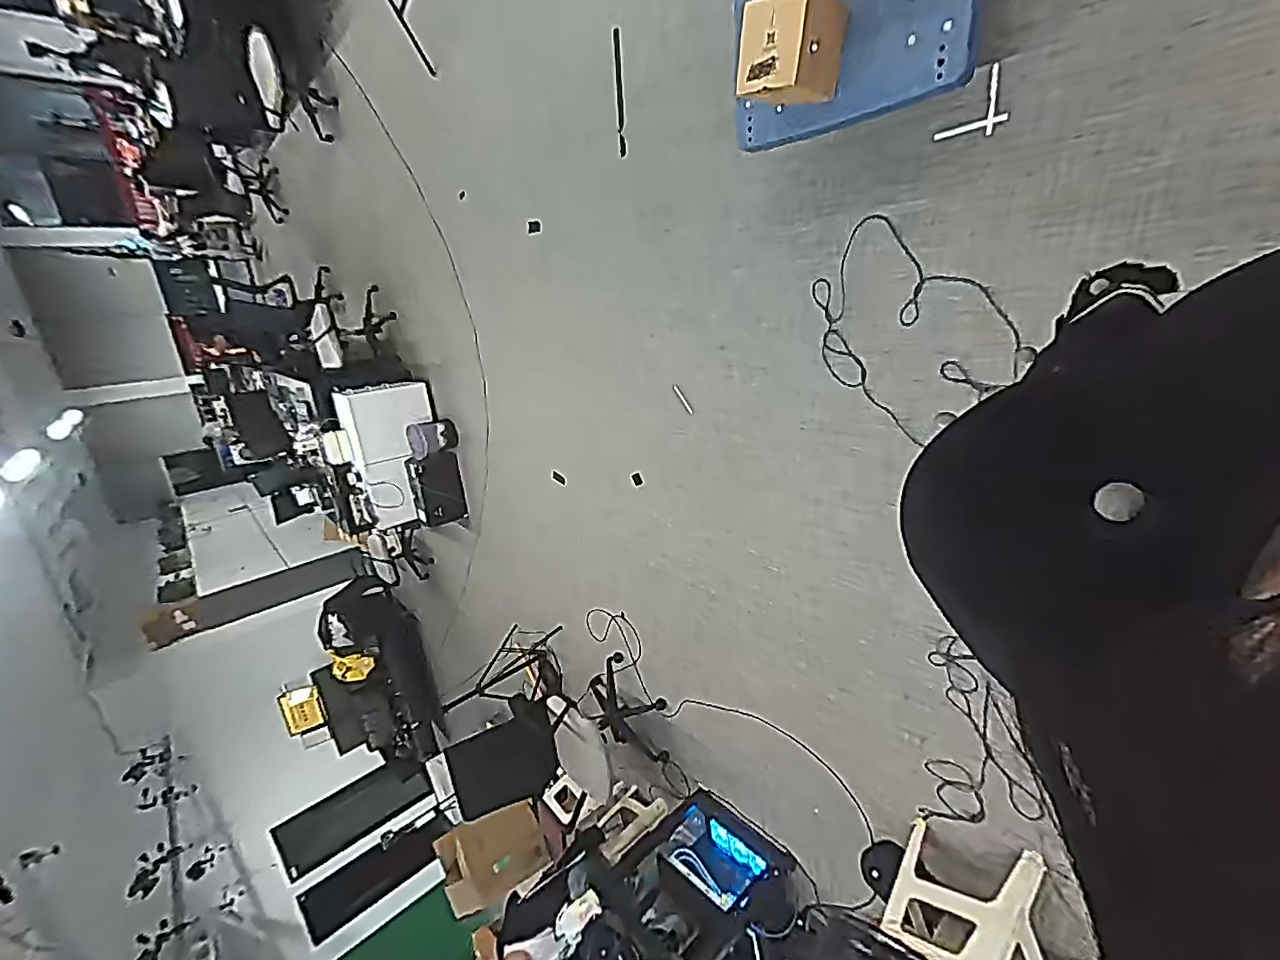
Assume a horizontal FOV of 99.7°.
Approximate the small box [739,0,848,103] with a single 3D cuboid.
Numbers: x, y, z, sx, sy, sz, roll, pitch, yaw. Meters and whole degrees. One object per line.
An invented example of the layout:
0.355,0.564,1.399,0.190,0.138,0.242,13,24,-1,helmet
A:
0.350,-0.981,1.234,0.168,0.176,0.179,27,124,41,small box
